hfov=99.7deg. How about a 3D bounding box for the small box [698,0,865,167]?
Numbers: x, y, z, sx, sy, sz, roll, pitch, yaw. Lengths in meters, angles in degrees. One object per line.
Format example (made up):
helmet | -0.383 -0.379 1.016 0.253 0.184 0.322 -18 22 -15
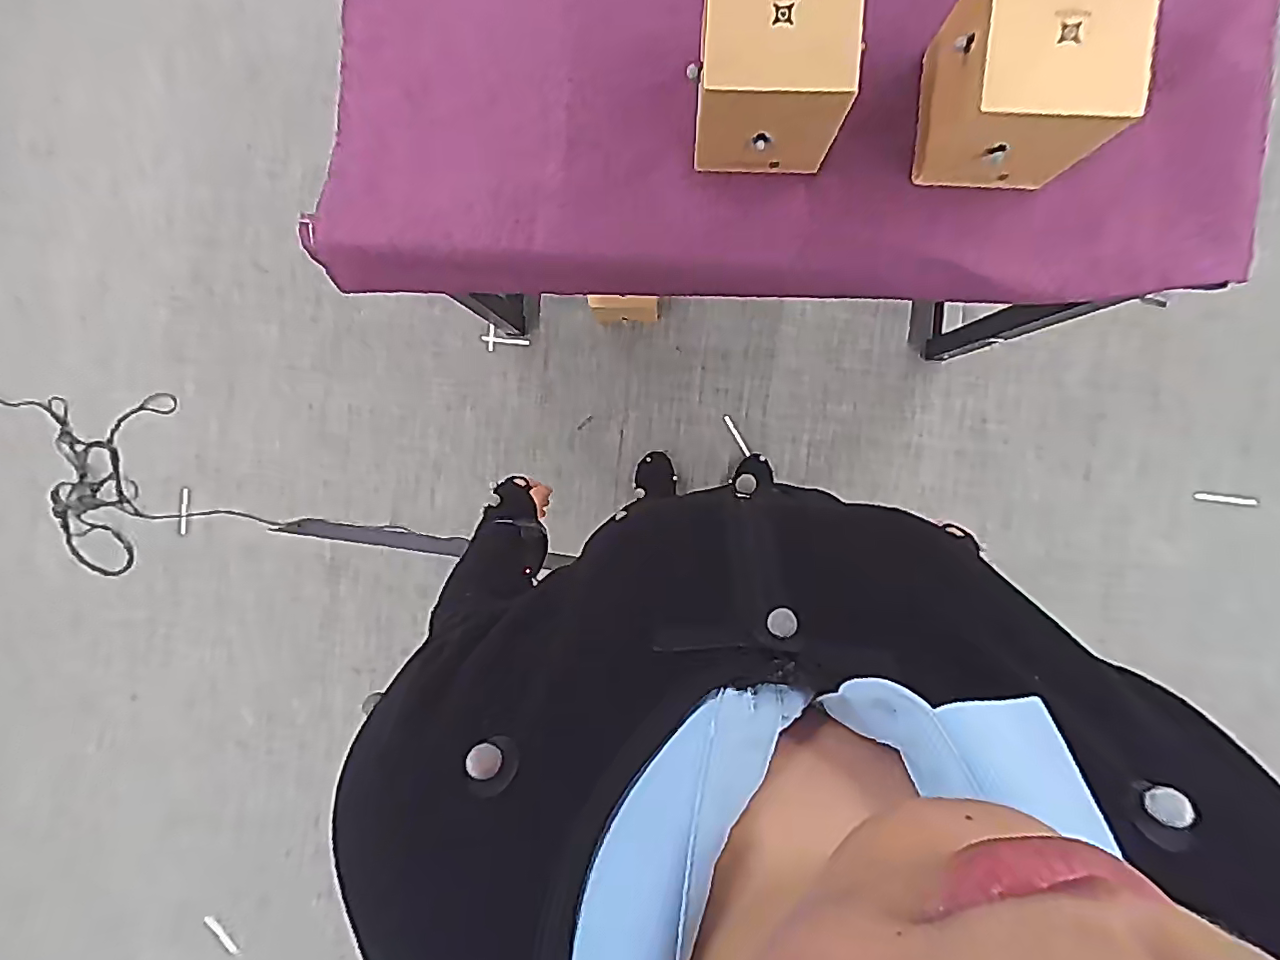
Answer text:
small box | 0.159 -0.506 0.651 0.168 0.176 0.179 3 92 2

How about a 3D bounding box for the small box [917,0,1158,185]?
small box | 0.449 -0.473 0.637 0.168 0.176 0.179 4 94 3
